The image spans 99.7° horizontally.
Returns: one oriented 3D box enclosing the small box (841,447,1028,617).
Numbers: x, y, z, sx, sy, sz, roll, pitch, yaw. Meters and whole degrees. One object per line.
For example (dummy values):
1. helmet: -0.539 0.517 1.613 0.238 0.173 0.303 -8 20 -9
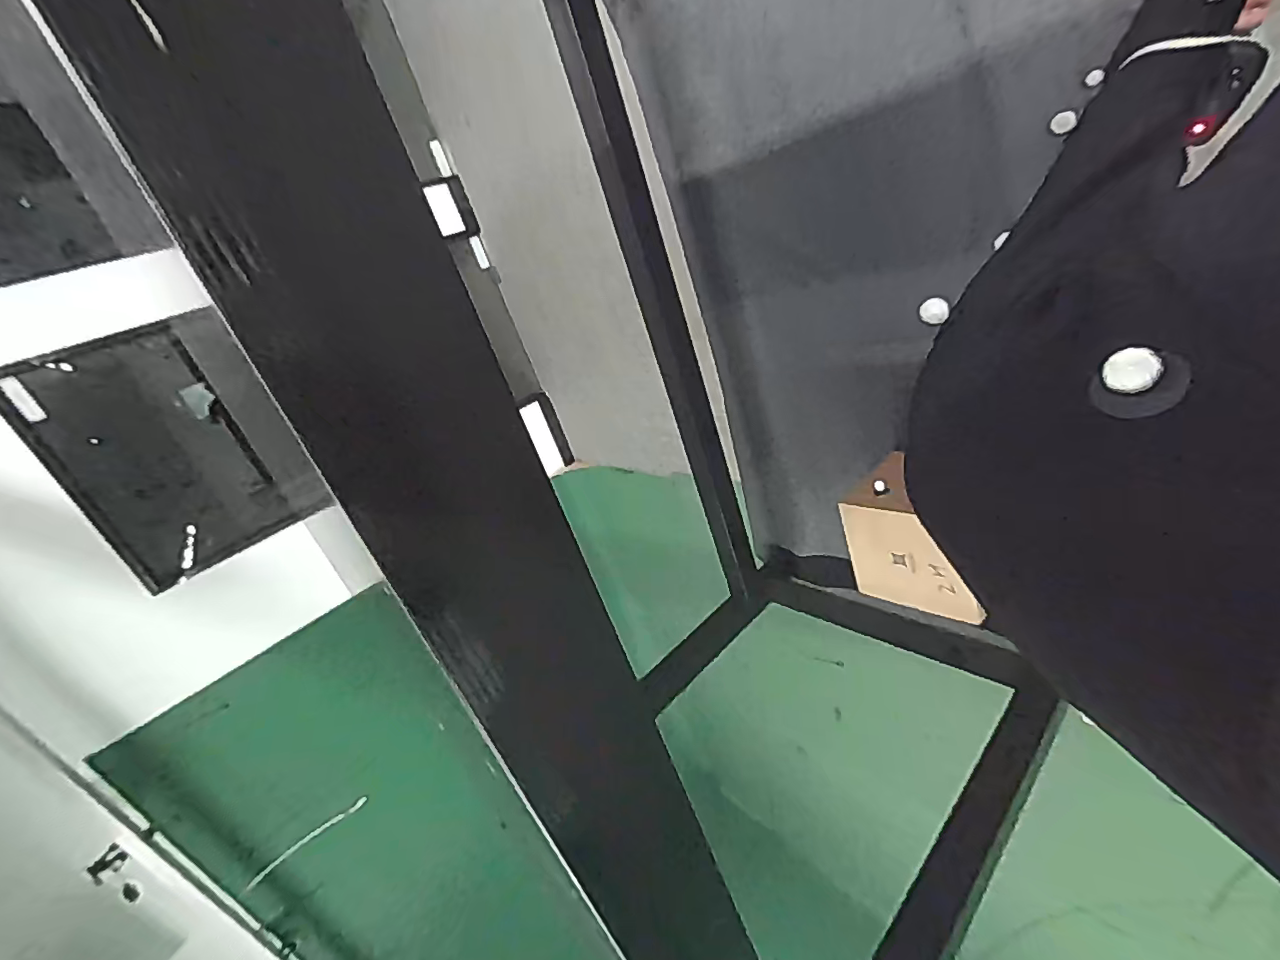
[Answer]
1. small box: 0.426 0.062 0.782 0.179 0.176 0.168 9 126 52
